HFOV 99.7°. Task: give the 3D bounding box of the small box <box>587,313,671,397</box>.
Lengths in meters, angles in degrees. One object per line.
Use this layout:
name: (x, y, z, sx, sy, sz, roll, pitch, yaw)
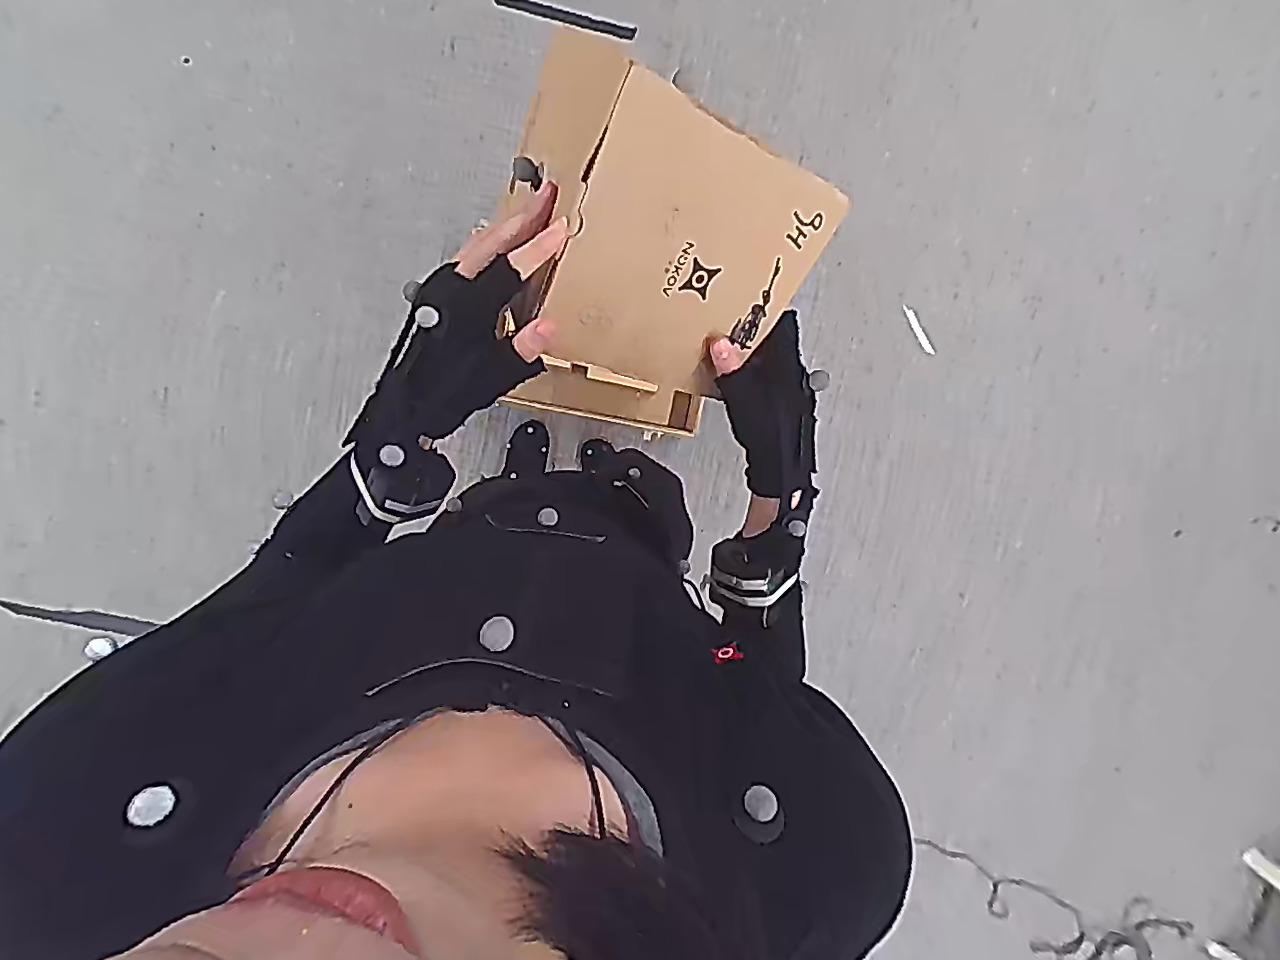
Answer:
small box: (-0.029, -0.307, 1.366, 0.179, 0.176, 0.168, 10, 94, -3)
